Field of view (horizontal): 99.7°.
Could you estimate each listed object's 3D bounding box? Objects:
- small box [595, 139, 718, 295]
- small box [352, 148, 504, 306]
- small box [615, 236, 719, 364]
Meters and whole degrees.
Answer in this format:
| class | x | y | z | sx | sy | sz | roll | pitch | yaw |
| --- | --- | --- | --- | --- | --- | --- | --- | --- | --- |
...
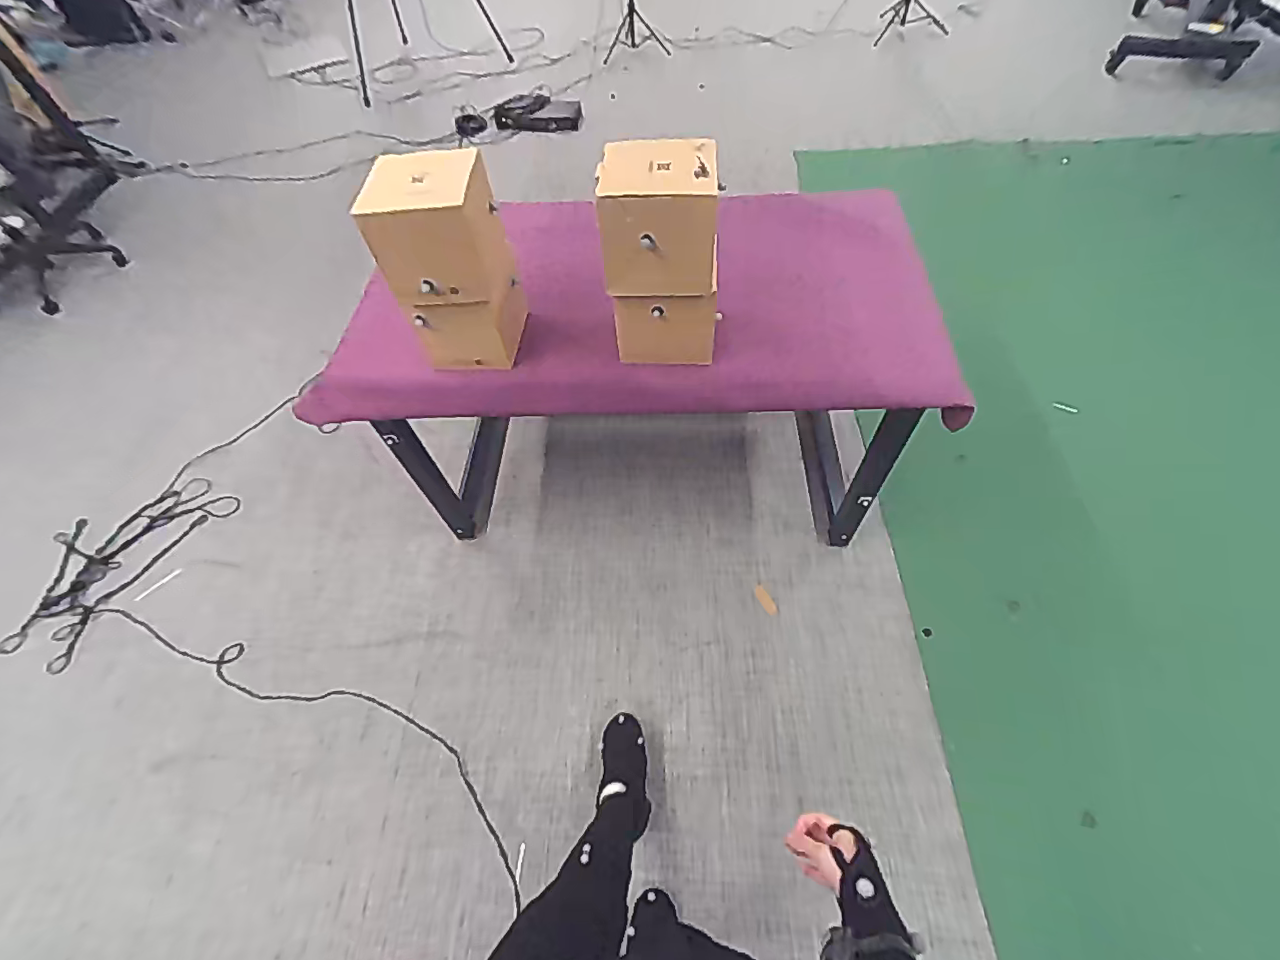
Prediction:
| class | x | y | z | sx | sy | sz | roll | pitch | yaw |
| --- | --- | --- | --- | --- | --- | --- | --- | --- | --- |
| small box | 0.034 | -0.411 | 0.860 | 0.179 | 0.176 | 0.168 | 1 | 56 | 5 |
| small box | -0.328 | -0.408 | 0.880 | 0.168 | 0.176 | 0.179 | -3 | 56 | 2 |
| small box | 0.053 | -0.332 | 1.002 | 0.179 | 0.176 | 0.168 | 3 | 56 | 5 |
